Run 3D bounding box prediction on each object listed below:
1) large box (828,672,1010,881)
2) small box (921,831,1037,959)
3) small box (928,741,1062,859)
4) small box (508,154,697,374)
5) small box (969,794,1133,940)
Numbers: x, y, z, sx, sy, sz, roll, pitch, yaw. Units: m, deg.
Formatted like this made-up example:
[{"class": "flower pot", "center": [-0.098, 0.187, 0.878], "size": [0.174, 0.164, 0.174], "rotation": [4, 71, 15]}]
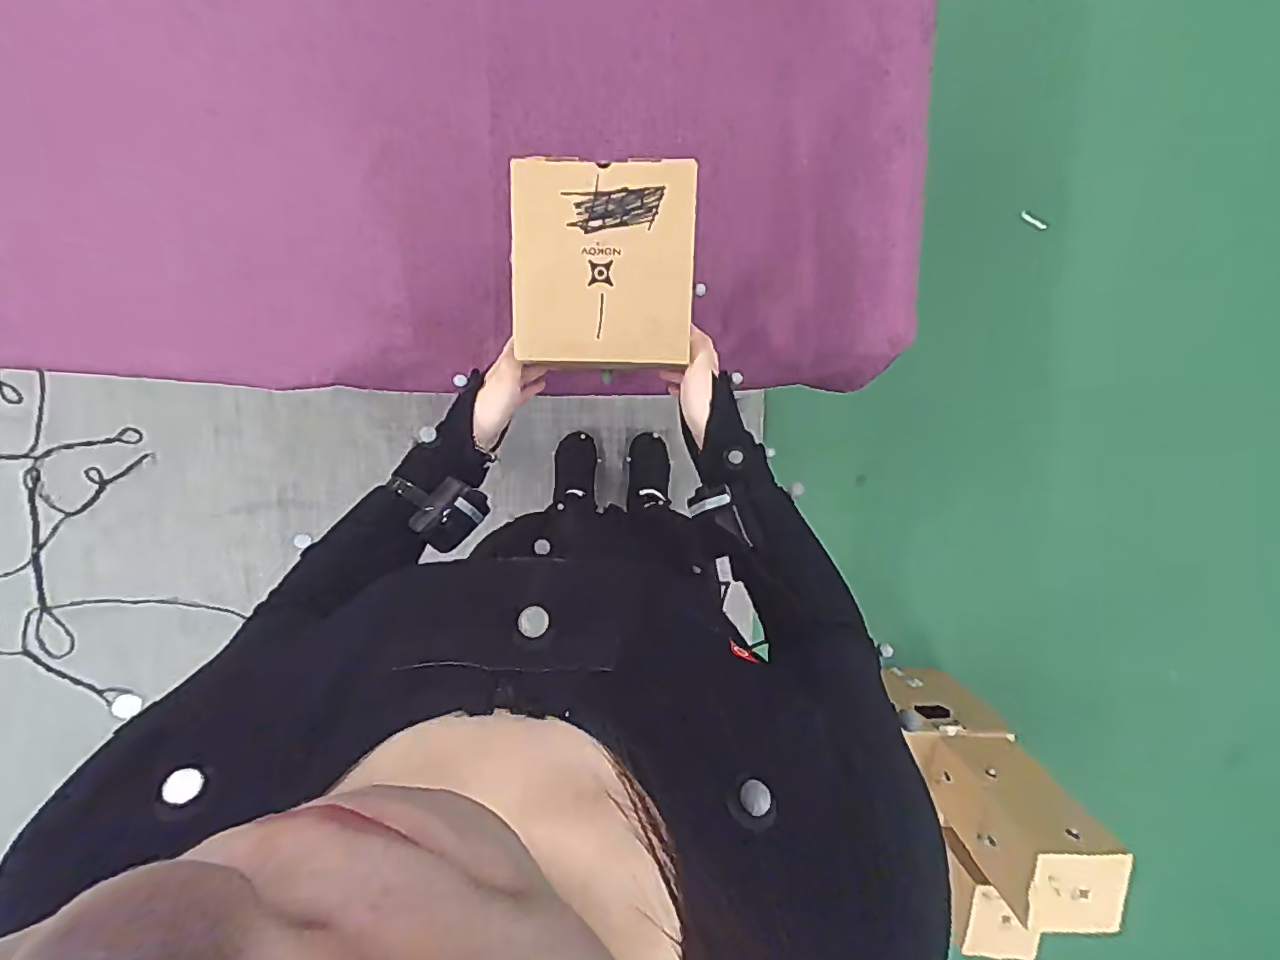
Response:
[{"class": "large box", "center": [0.723, 0.776, 1.461], "size": [0.320, 0.320, 0.408], "rotation": [2, 99, 0]}, {"class": "small box", "center": [0.777, 0.955, 1.241], "size": [0.168, 0.176, 0.179], "rotation": [7, 98, -2]}, {"class": "small box", "center": [0.781, 0.709, 1.206], "size": [0.179, 0.176, 0.168], "rotation": [2, 99, -1]}, {"class": "small box", "center": [-0.032, -0.205, 0.556], "size": [0.168, 0.176, 0.179], "rotation": [2, 99, 3]}, {"class": "small box", "center": [0.780, 0.737, 1.044], "size": [0.179, 0.176, 0.168], "rotation": [1, 99, -1]}]
